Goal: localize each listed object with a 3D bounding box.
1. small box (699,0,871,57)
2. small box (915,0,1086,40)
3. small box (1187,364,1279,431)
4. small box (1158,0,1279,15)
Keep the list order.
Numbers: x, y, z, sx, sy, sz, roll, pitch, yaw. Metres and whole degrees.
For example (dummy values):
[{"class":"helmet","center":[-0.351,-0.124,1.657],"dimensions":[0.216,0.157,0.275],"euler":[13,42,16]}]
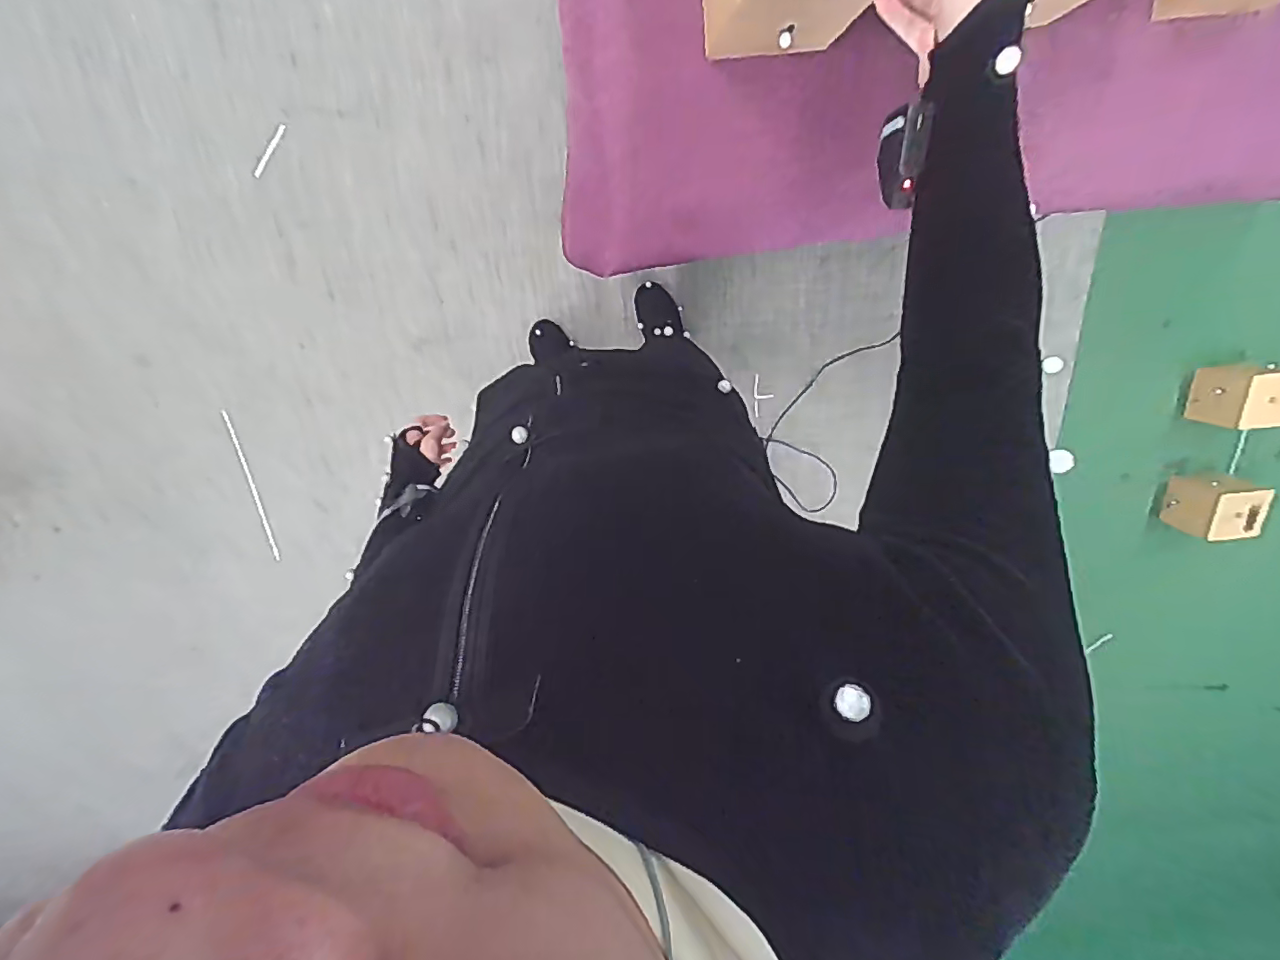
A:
[{"class":"small box","center":[0.161,-0.609,0.610],"dimensions":[0.168,0.176,0.179],"euler":[-8,111,-3]},{"class":"small box","center":[0.450,-0.643,0.621],"dimensions":[0.179,0.176,0.168],"euler":[-7,110,-1]},{"class":"small box","center":[1.841,-0.254,1.647],"dimensions":[0.179,0.176,0.168],"euler":[-7,110,-3]},{"class":"small box","center":[0.768,-0.684,0.633],"dimensions":[0.168,0.176,0.179],"euler":[-7,110,-2]}]
